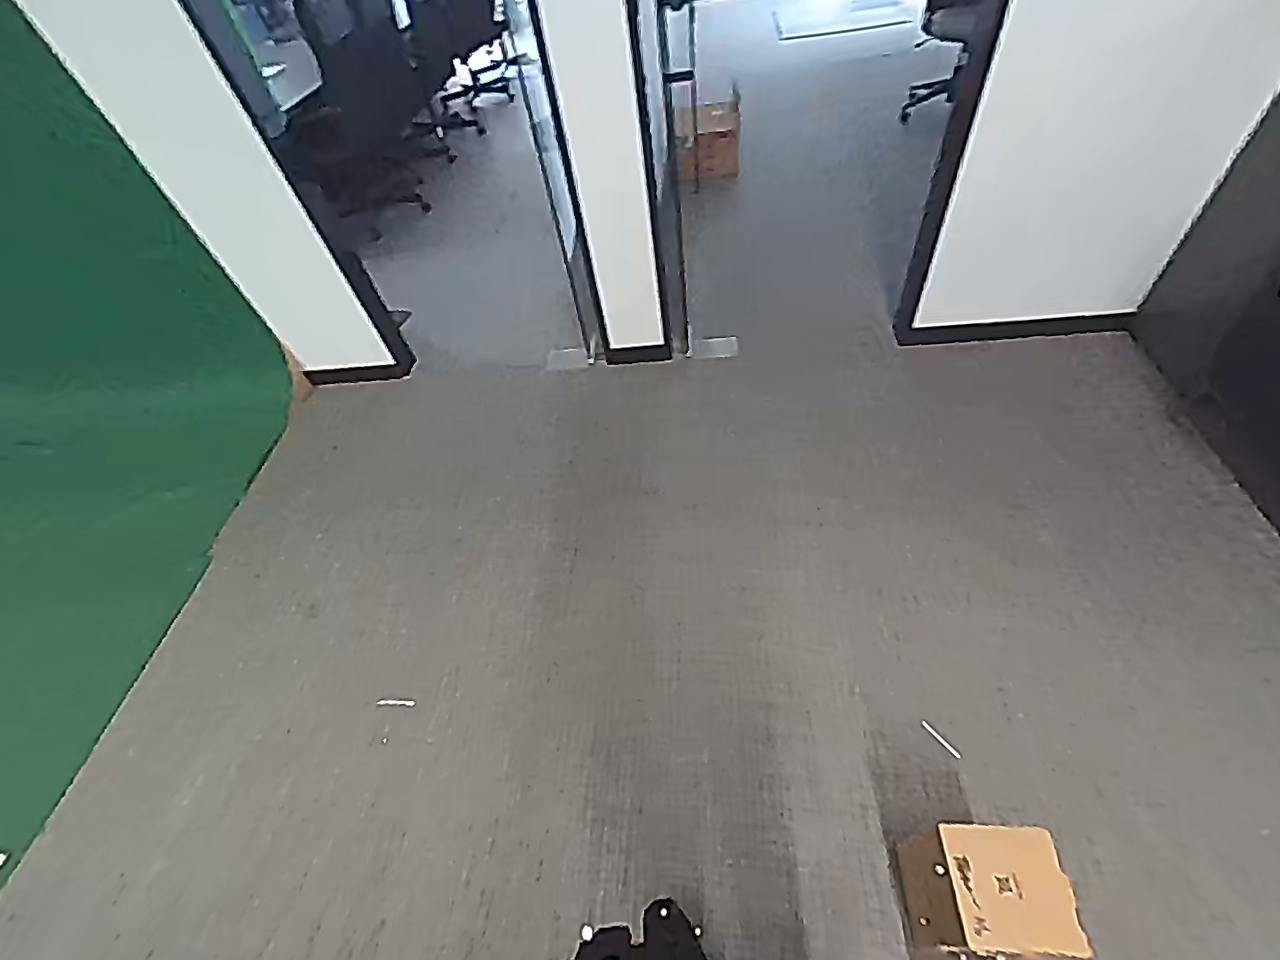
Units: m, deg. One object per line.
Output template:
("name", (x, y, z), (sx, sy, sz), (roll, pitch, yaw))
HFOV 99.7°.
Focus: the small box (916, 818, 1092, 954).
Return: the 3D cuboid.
("small box", (0.603, 0.690, 0.925), (0.179, 0.176, 0.168), (-1, 51, 7))
